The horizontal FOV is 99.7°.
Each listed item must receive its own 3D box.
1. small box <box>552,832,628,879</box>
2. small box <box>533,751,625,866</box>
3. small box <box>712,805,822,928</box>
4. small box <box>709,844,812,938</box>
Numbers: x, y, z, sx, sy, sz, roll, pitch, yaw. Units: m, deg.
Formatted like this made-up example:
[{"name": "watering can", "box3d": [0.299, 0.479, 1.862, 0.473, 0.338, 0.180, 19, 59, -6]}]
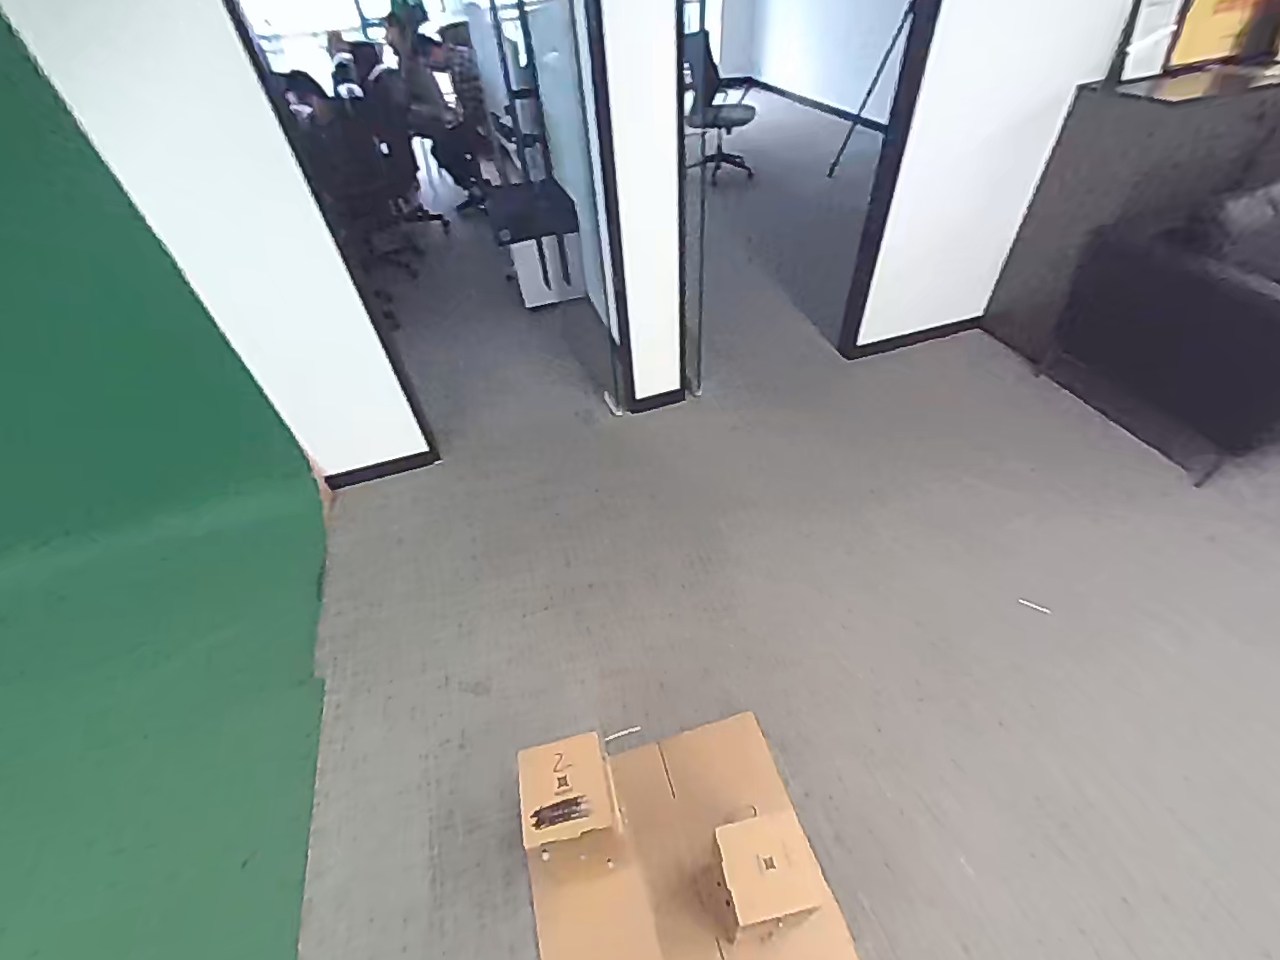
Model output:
[{"name": "small box", "box3d": [-0.130, 0.860, 1.342, 0.179, 0.176, 0.168, -13, 46, -8]}, {"name": "small box", "box3d": [-0.134, 0.746, 1.227, 0.179, 0.176, 0.168, -13, 47, -8]}, {"name": "small box", "box3d": [0.255, 0.810, 1.131, 0.179, 0.176, 0.168, -10, 47, -5]}, {"name": "small box", "box3d": [0.268, 0.927, 1.246, 0.179, 0.176, 0.168, -12, 46, -7]}]
